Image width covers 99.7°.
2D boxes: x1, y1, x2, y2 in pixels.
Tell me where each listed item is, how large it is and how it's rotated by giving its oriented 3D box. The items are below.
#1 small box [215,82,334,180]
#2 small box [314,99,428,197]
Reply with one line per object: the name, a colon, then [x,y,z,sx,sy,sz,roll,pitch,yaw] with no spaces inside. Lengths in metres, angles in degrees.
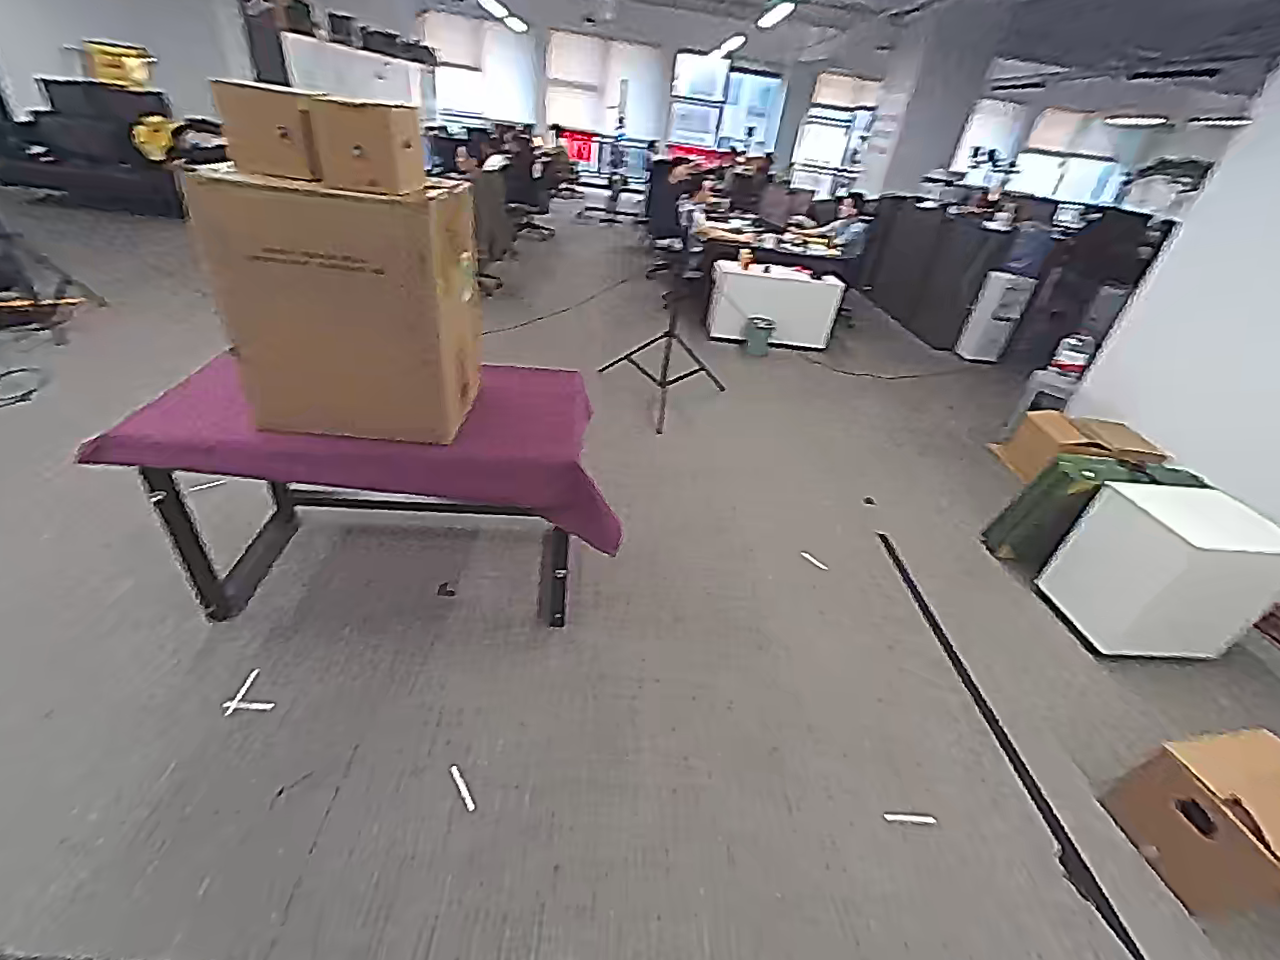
small box: [-0.812,-0.796,1.242,0.179,0.176,0.168,4,33,-5]
small box: [-0.592,-0.747,1.219,0.168,0.176,0.179,5,34,-3]
